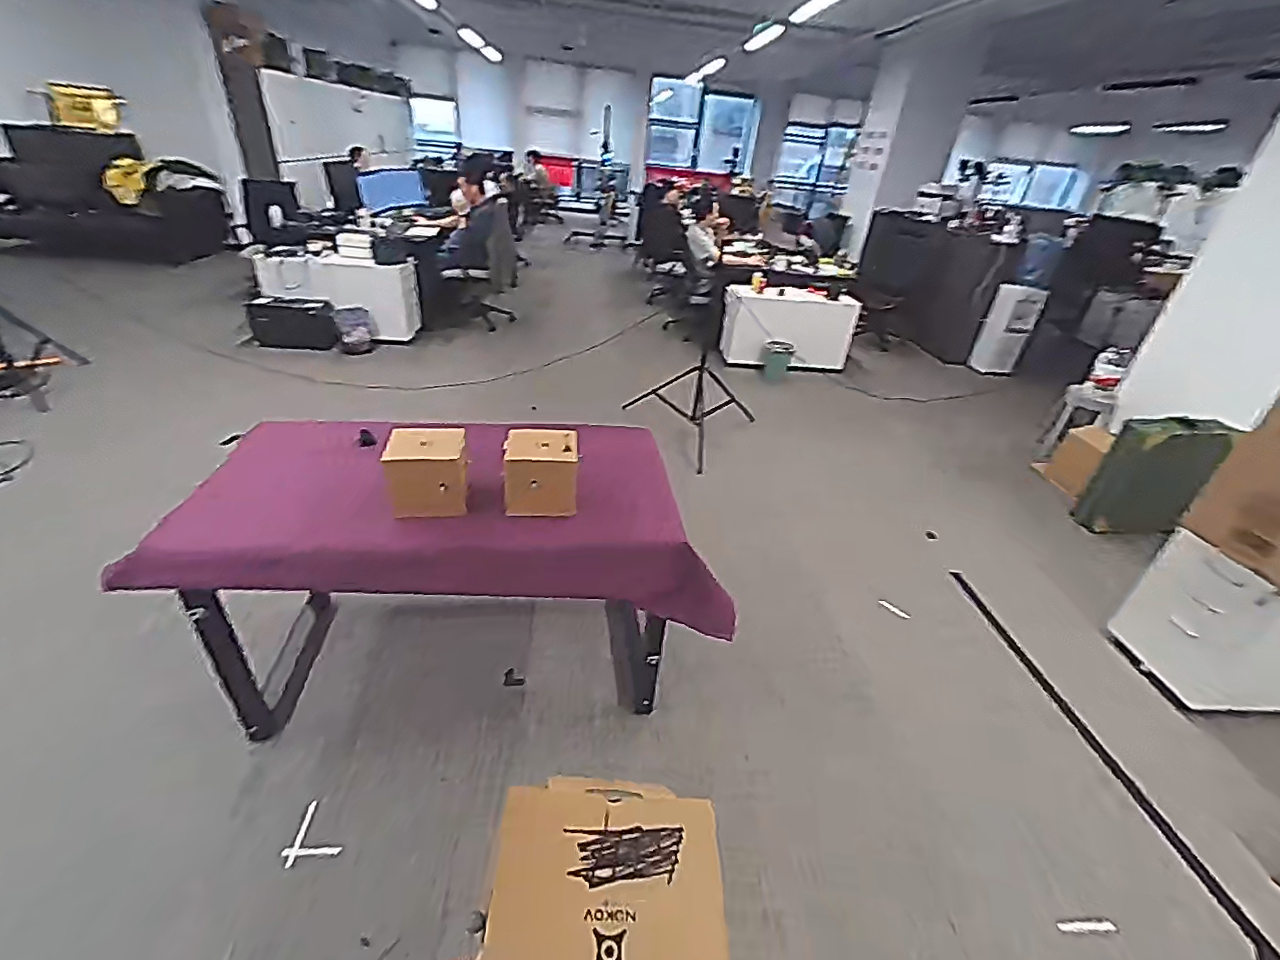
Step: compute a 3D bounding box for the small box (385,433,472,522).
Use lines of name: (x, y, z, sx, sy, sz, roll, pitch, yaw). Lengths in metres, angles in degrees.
small box: (-0.526, -0.008, 1.371, 0.179, 0.176, 0.168, -3, 31, -12)

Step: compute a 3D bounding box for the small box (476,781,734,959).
small box: (-0.037, 0.357, 0.409, 0.168, 0.176, 0.179, 9, 39, -11)

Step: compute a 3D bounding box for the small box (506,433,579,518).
small box: (-0.250, -0.011, 1.417, 0.179, 0.176, 0.168, 0, 32, -8)
